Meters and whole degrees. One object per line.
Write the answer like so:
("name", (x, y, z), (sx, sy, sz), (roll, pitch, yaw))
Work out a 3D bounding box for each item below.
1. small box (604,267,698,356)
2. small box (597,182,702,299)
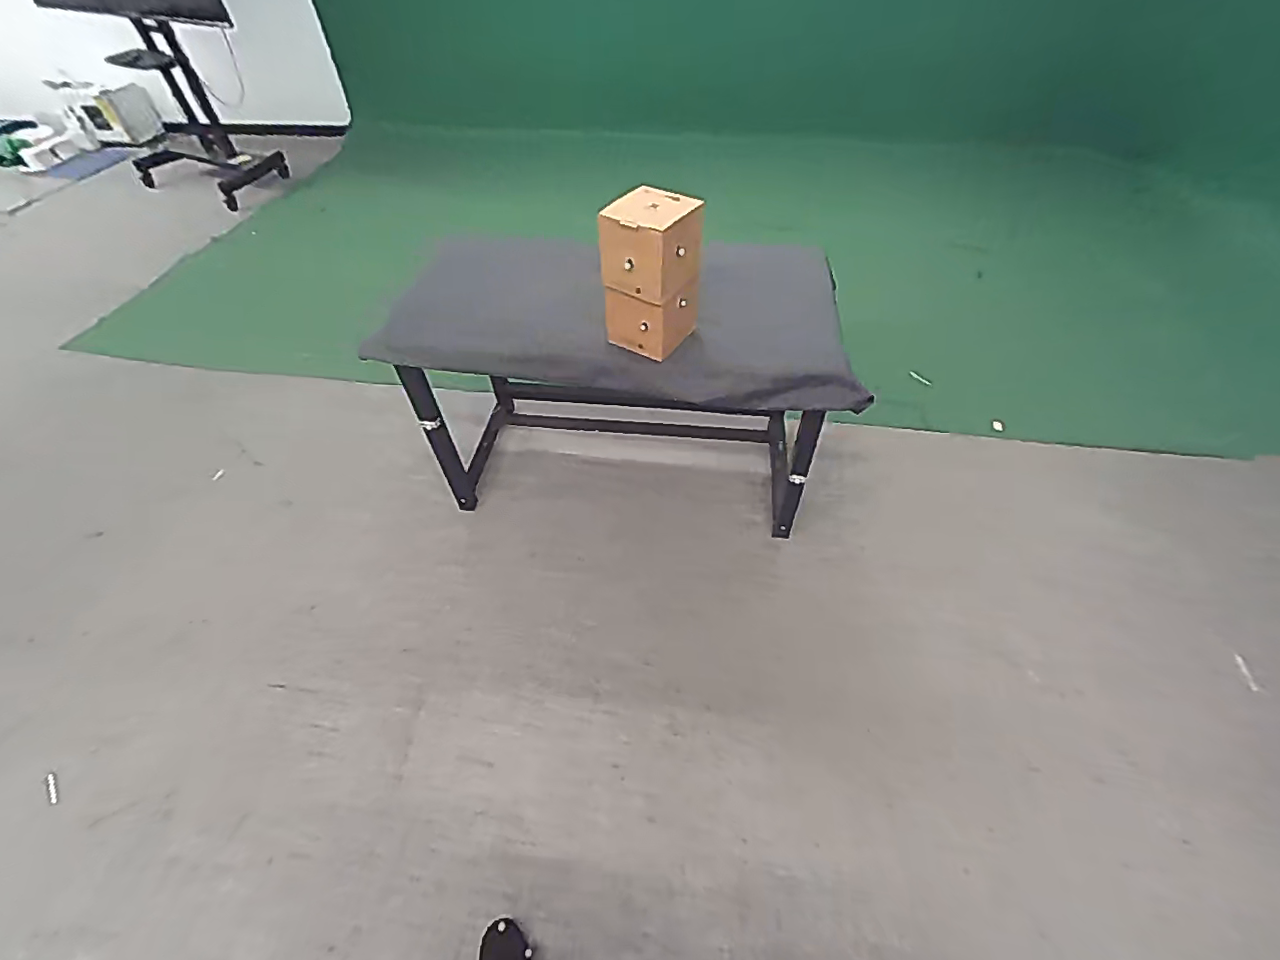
("small box", (0.030, -0.438, 1.349), (0.168, 0.176, 0.179), (27, 54, 21))
("small box", (0.026, -0.535, 1.216), (0.168, 0.176, 0.179), (27, 57, 21))
